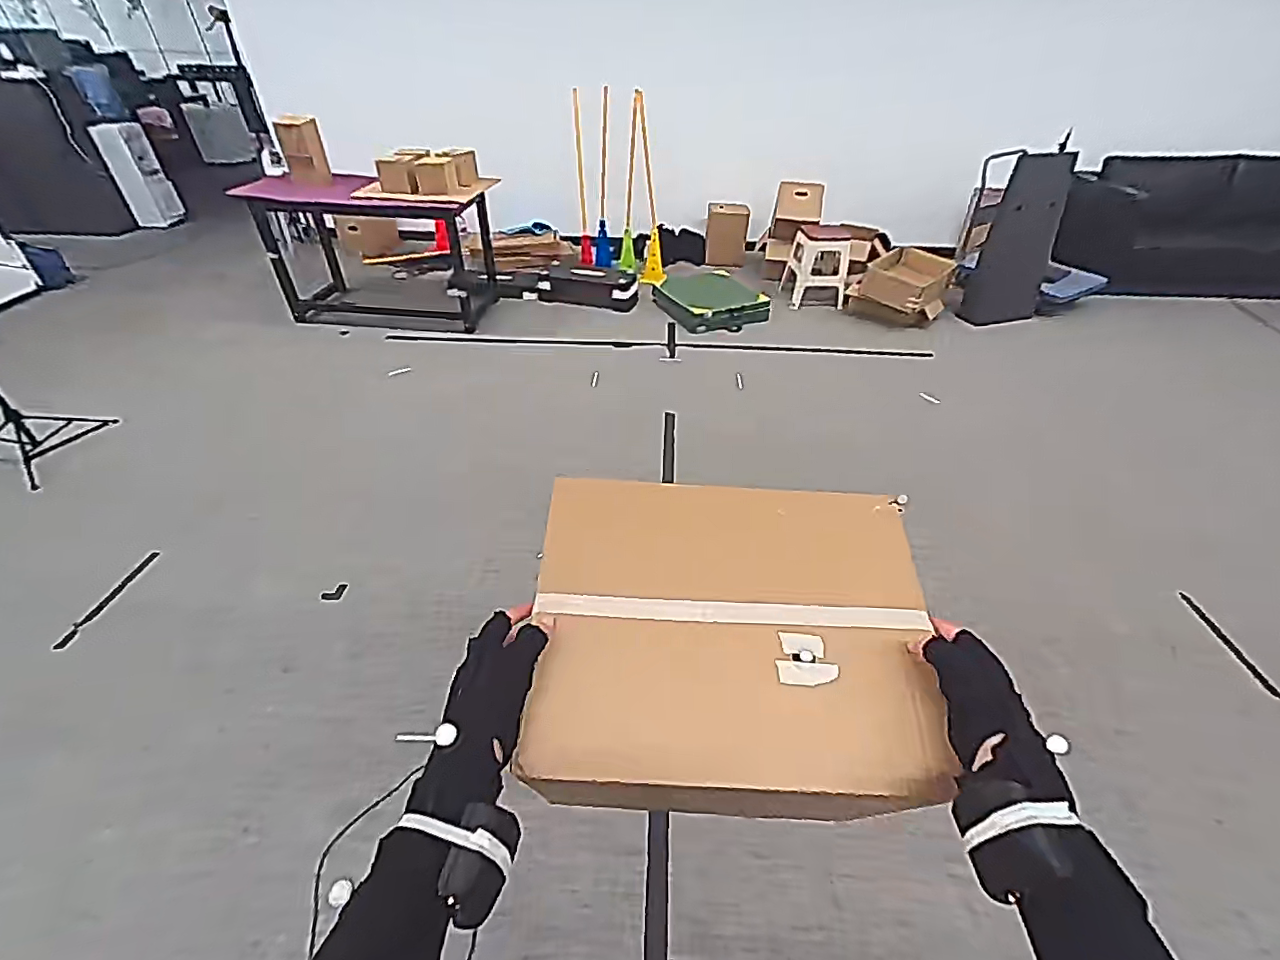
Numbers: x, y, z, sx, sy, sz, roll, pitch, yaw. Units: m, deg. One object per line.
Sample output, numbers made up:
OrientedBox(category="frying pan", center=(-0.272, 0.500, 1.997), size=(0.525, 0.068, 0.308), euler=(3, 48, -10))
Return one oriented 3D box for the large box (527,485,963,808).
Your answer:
OrientedBox(category="large box", center=(0.092, 0.224, 0.689), size=(0.408, 0.320, 0.320), euler=(3, 56, 0))
